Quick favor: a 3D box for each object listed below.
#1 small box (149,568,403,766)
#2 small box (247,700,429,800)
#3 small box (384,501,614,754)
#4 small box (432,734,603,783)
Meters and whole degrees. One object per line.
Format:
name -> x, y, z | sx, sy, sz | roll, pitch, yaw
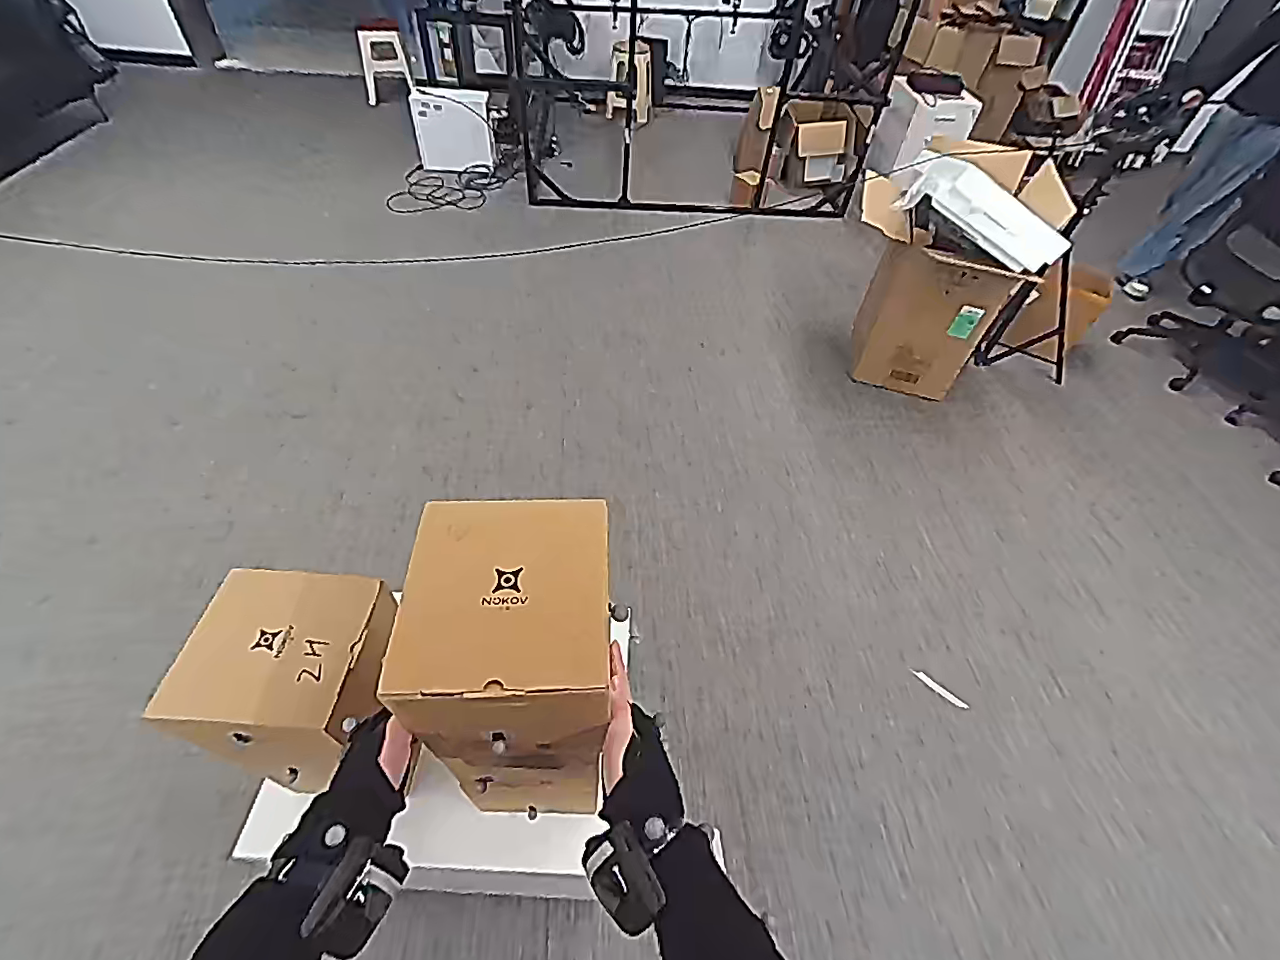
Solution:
small box -> -0.384, 0.220, 0.627 | 0.179, 0.176, 0.168 | 5, 50, -1
small box -> -0.395, 0.324, 0.755 | 0.168, 0.176, 0.179 | 5, 48, -1
small box -> -0.109, 0.137, 0.501 | 0.168, 0.176, 0.179 | 0, 51, -4
small box -> -0.122, 0.243, 0.634 | 0.168, 0.176, 0.179 | 3, 49, -3
